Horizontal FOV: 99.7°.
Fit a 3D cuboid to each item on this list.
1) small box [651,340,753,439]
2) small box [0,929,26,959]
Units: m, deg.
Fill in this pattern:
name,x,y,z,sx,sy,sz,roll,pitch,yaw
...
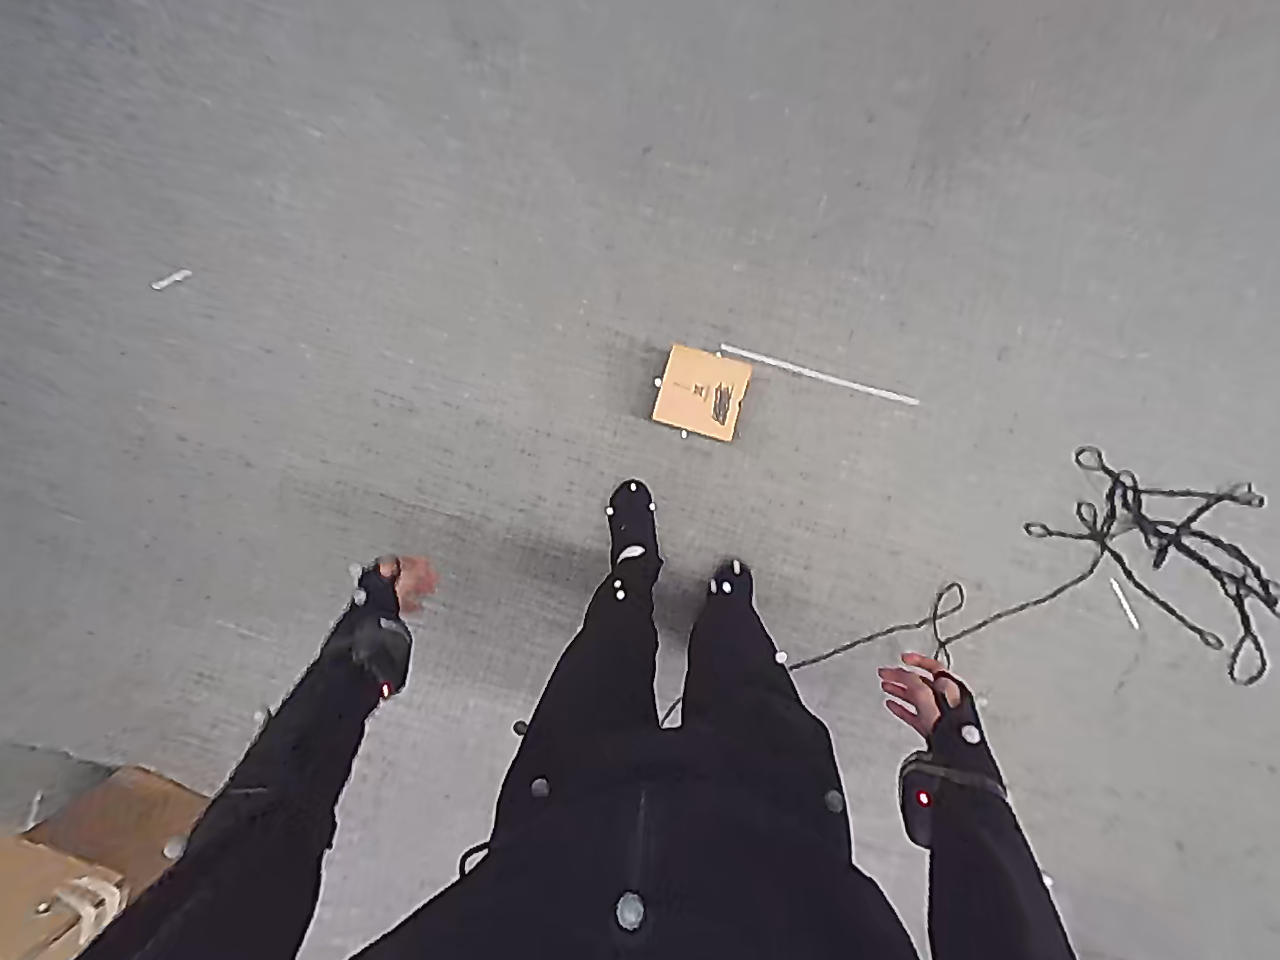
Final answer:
name,x,y,z,sx,sy,sz,roll,pitch,yaw
small box,0.132,-0.193,1.199,0.179,0.176,0.168,17,94,1
small box,-1.198,0.861,0.886,0.179,0.176,0.168,20,96,1
